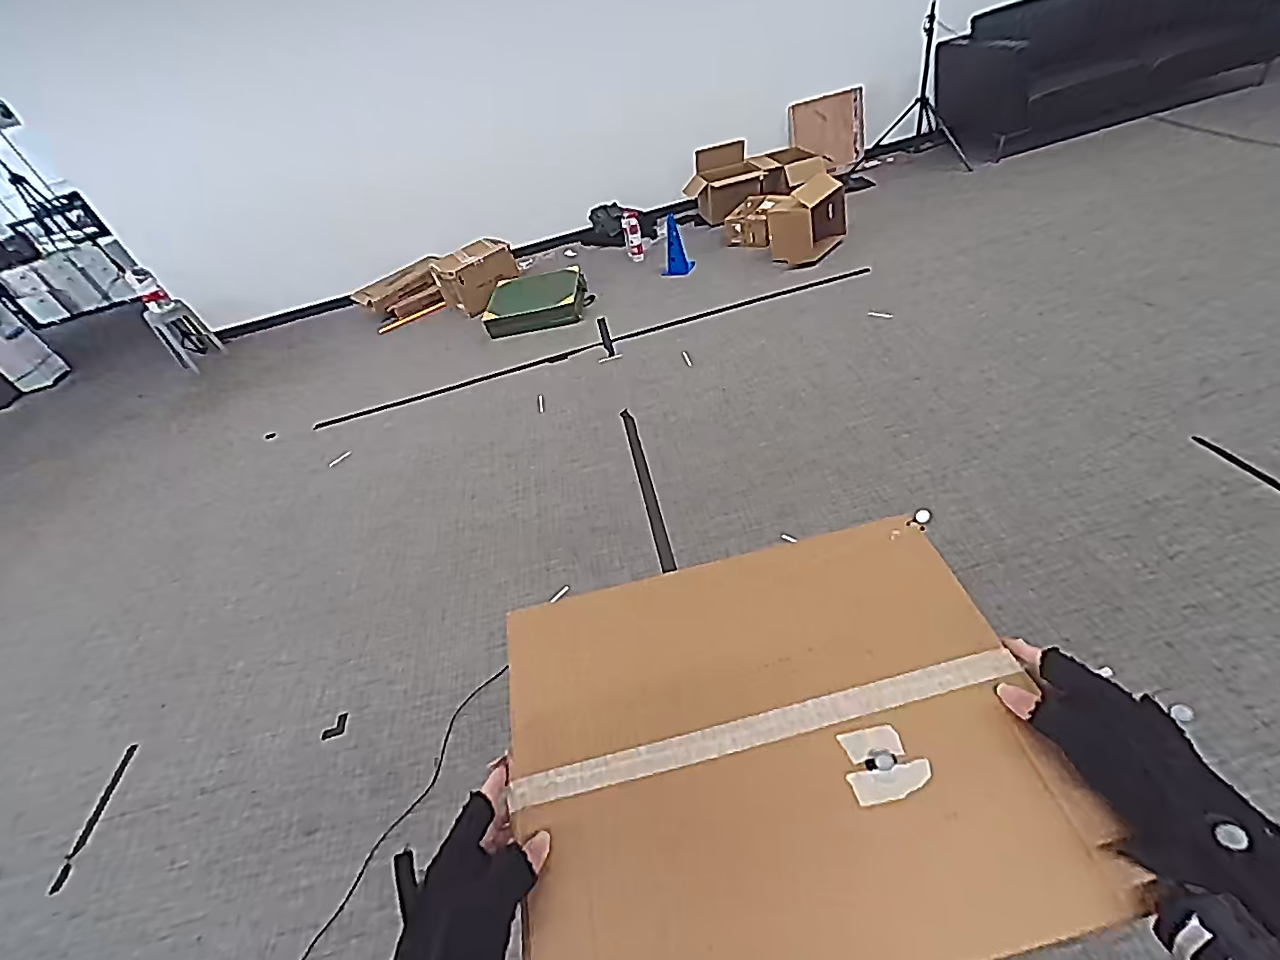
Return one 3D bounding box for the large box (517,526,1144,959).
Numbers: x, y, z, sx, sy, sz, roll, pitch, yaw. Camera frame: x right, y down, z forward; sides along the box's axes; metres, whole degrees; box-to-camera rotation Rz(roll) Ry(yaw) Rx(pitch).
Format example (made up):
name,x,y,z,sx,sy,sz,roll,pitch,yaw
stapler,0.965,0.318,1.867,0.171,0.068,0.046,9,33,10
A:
name,x,y,z,sx,sy,sz,roll,pitch,yaw
large box,0.121,0.300,0.545,0.408,0.320,0.320,-14,48,-3
